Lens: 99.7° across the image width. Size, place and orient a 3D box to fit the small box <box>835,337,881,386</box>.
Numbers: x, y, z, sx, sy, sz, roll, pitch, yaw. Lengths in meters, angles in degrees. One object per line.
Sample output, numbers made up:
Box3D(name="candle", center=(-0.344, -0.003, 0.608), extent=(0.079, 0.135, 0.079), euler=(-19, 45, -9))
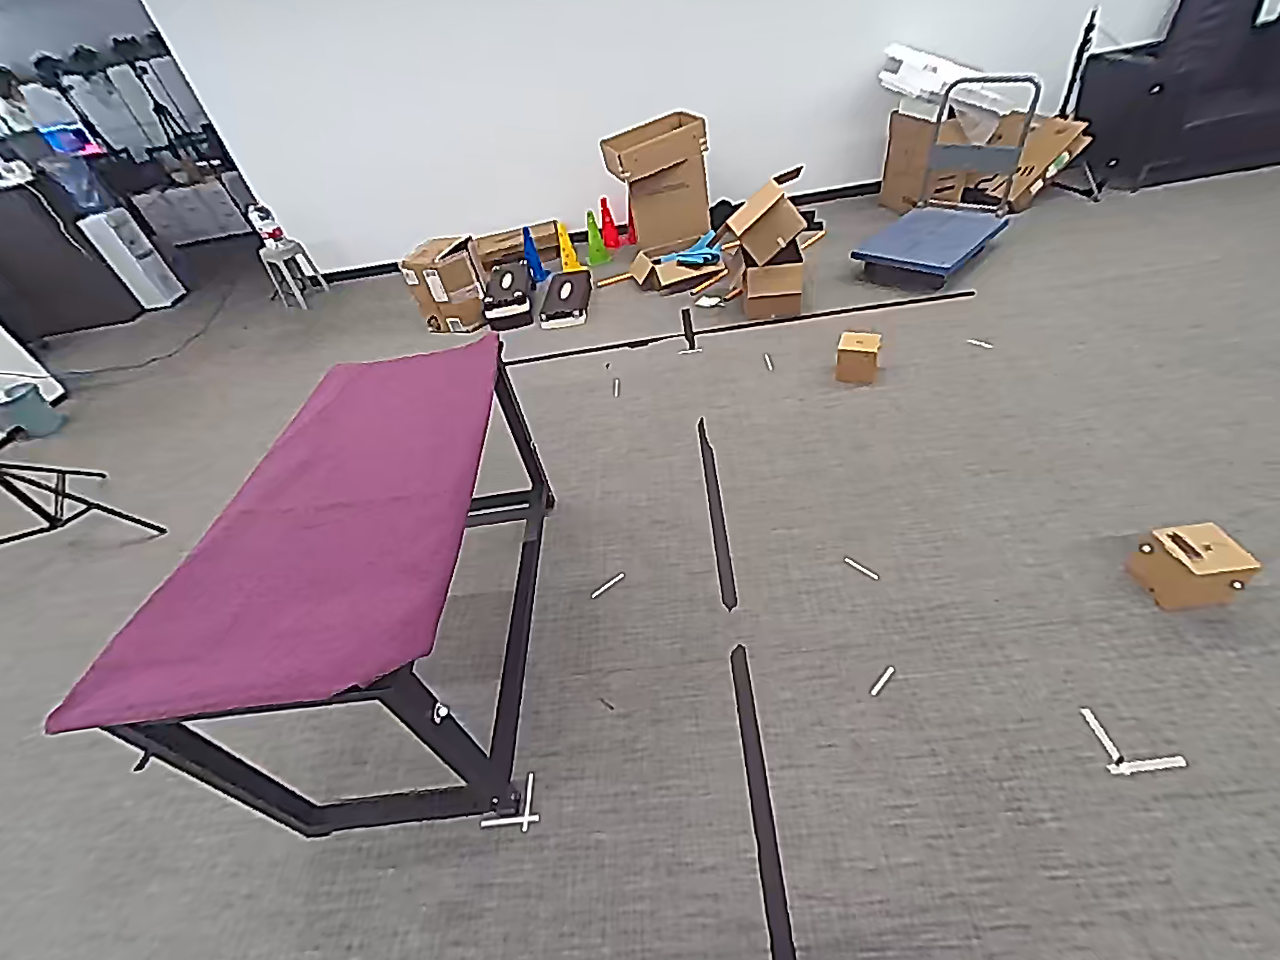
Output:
Box3D(name="small box", center=(1.038, -0.567, 2.583), extent=(0.179, 0.176, 0.168), euler=(11, 46, 23))
